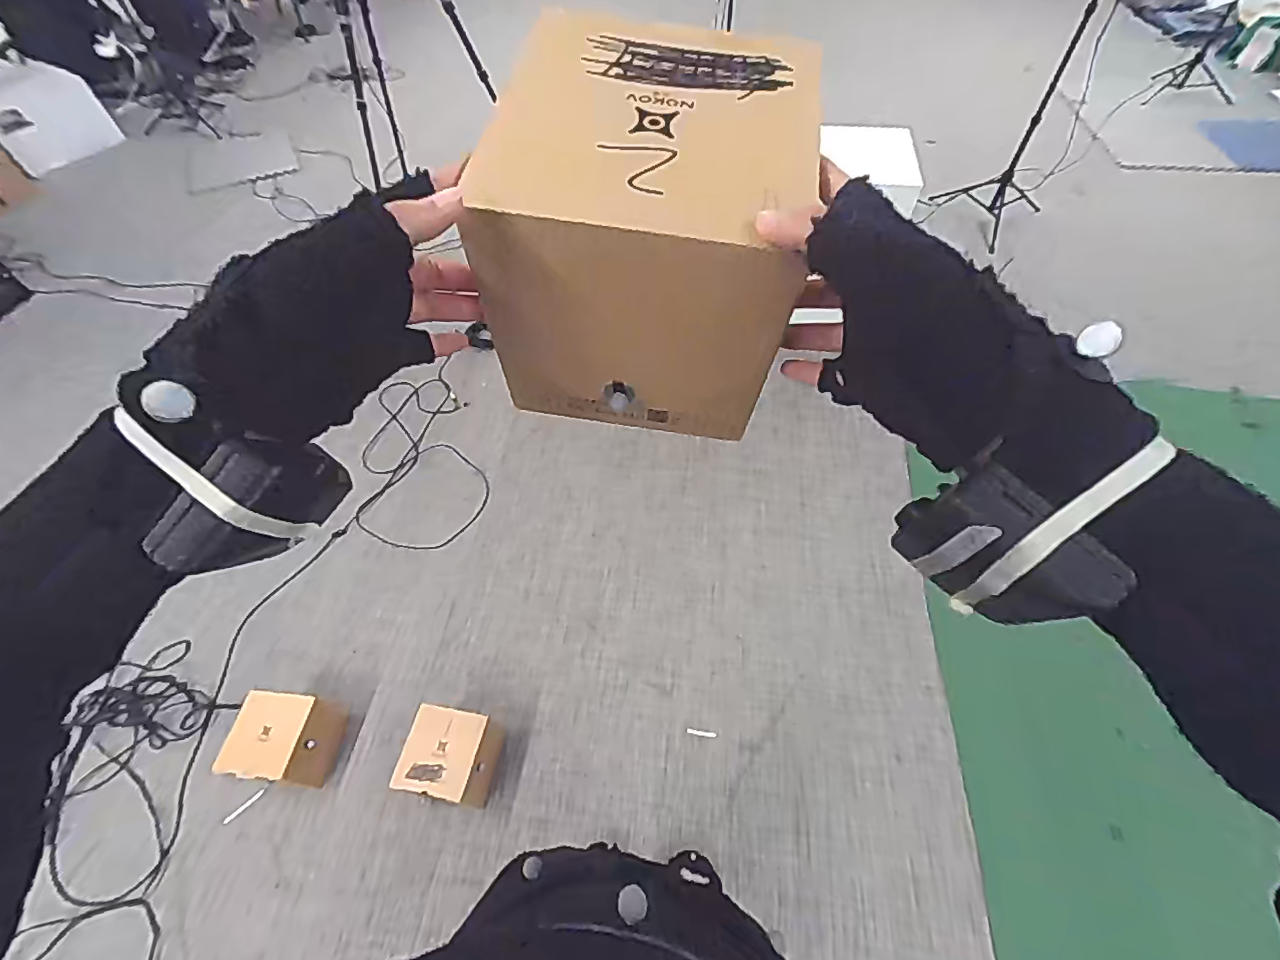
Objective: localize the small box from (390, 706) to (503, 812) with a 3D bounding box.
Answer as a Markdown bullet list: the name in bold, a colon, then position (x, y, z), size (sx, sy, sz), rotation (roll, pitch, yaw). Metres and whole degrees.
- **small box**: position (-0.431, 0.645, 1.243), size (0.168, 0.176, 0.179), rotation (8, 54, 8)

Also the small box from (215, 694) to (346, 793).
- **small box**: position (-0.832, 0.623, 1.277), size (0.168, 0.176, 0.179), rotation (3, 55, 5)
